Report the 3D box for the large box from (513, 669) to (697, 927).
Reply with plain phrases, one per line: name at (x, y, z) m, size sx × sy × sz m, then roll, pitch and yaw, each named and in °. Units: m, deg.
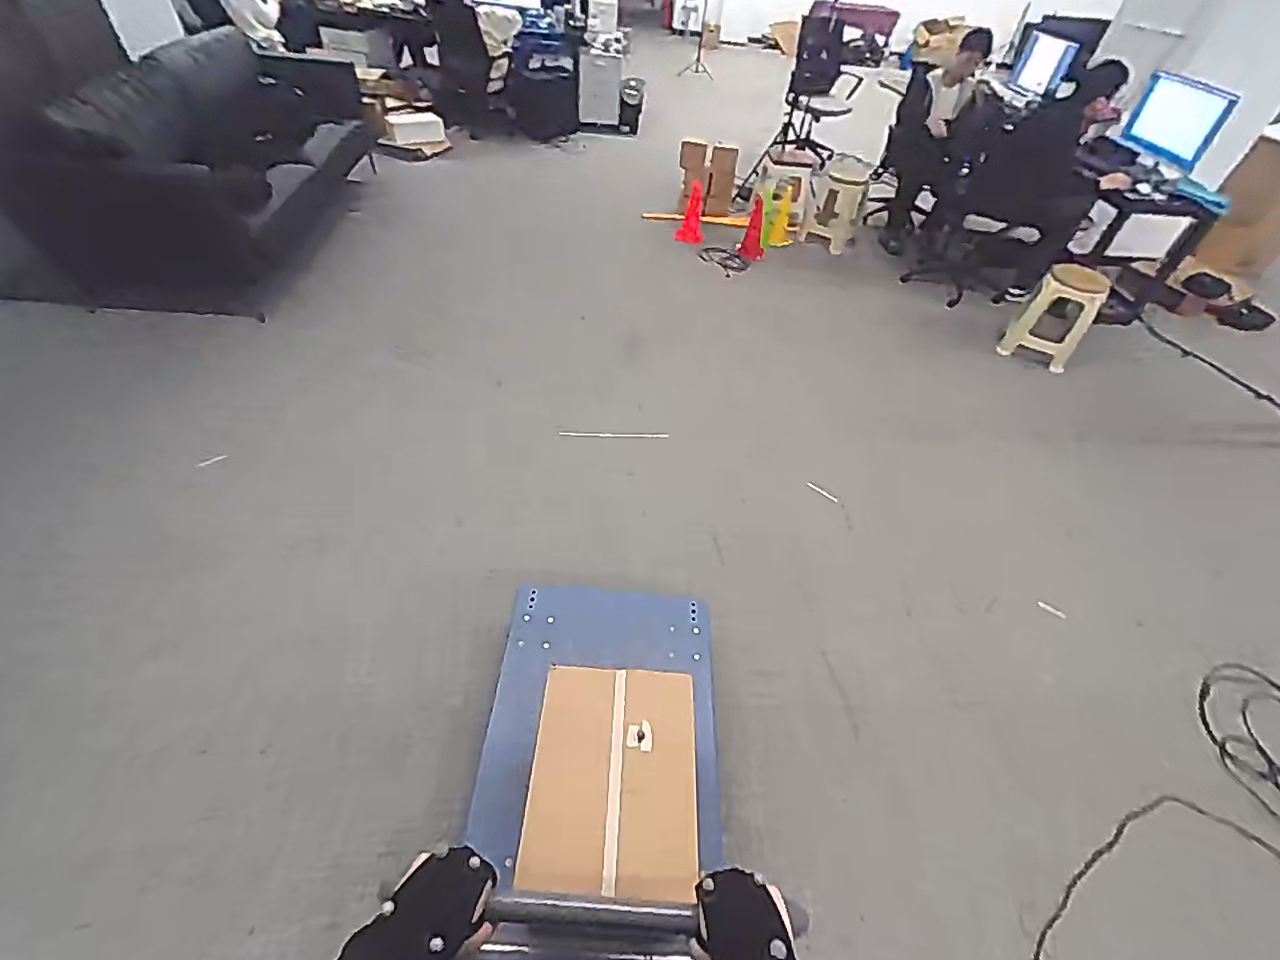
large box at (-0.067, 0.664, 1.135) m, size 0.320 × 0.320 × 0.408 m, roll 5°, pitch 45°, yaw -3°
